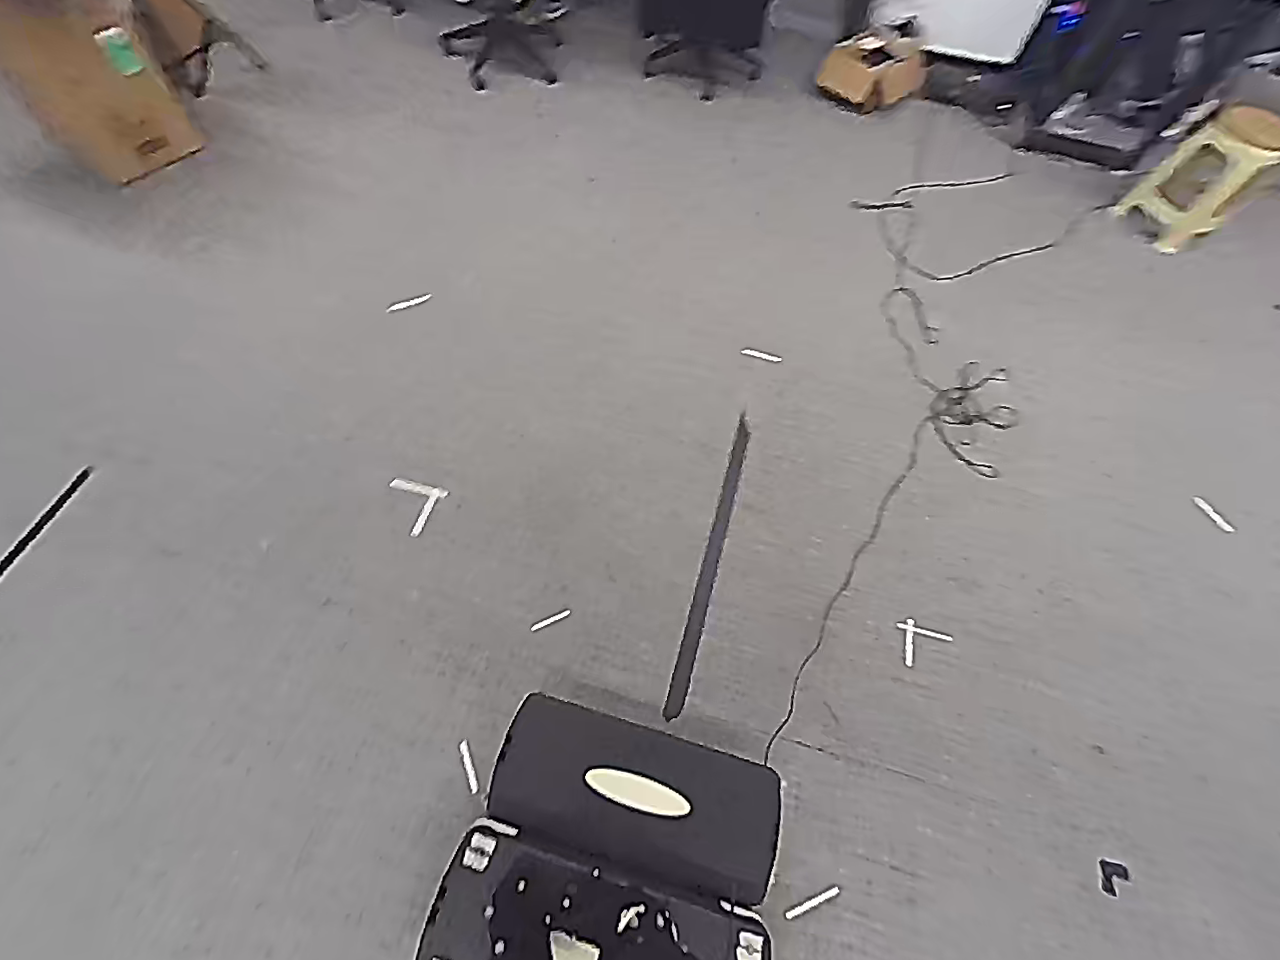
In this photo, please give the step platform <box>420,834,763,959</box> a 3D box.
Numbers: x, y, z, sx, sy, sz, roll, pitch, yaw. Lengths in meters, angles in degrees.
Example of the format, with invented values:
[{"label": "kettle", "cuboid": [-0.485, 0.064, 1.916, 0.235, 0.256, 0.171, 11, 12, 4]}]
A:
[{"label": "step platform", "cuboid": [-0.085, 0.986, 1.069, 0.684, 0.204, 0.286, 19, 60, 8]}]
